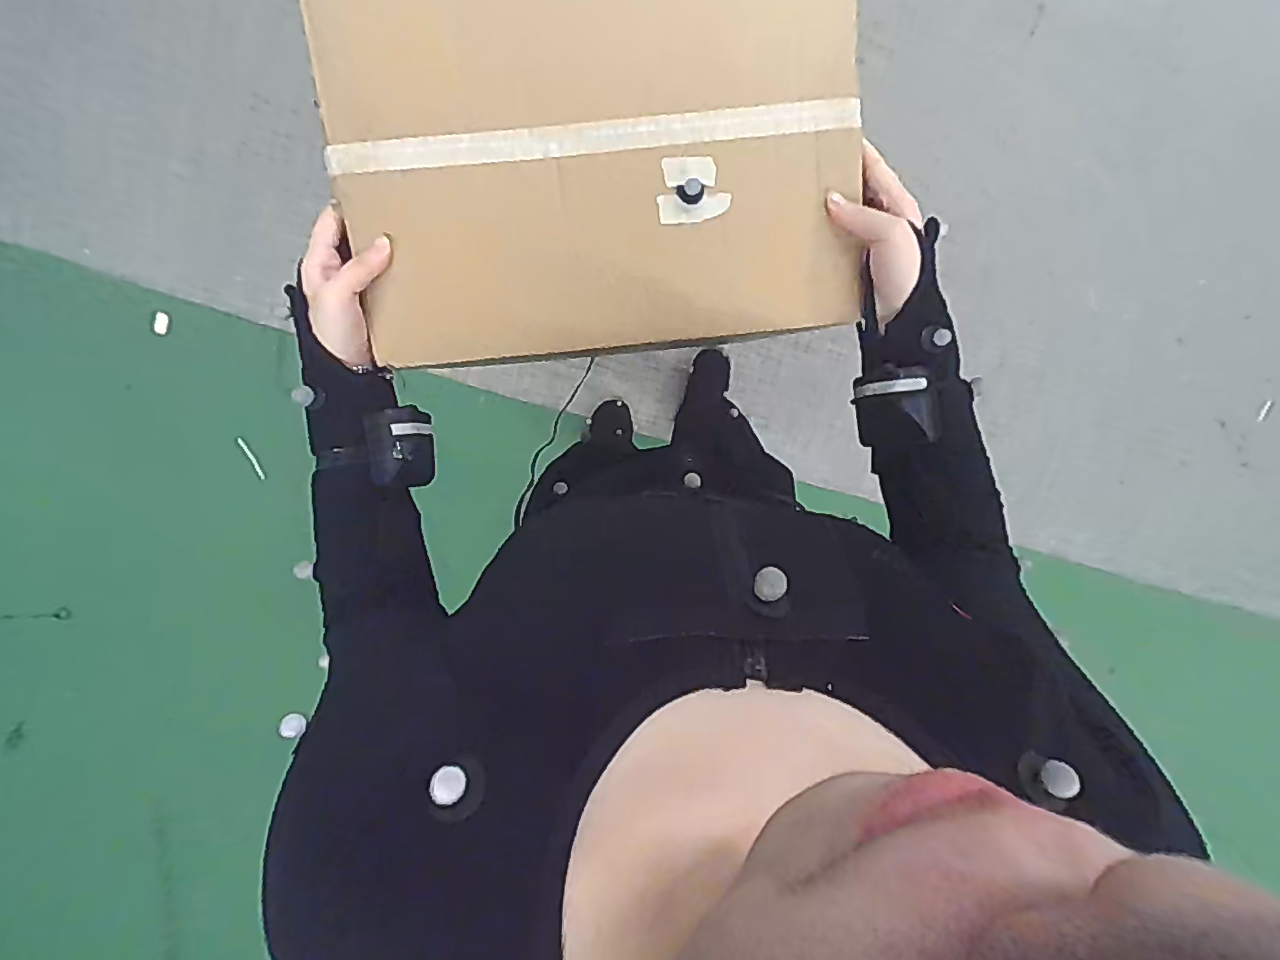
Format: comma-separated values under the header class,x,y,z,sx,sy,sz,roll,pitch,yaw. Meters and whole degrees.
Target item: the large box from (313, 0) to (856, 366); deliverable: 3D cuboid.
class,x,y,z,sx,sy,sz,roll,pitch,yaw
large box,-0.041,-0.301,0.570,0.408,0.320,0.320,-8,103,-3
